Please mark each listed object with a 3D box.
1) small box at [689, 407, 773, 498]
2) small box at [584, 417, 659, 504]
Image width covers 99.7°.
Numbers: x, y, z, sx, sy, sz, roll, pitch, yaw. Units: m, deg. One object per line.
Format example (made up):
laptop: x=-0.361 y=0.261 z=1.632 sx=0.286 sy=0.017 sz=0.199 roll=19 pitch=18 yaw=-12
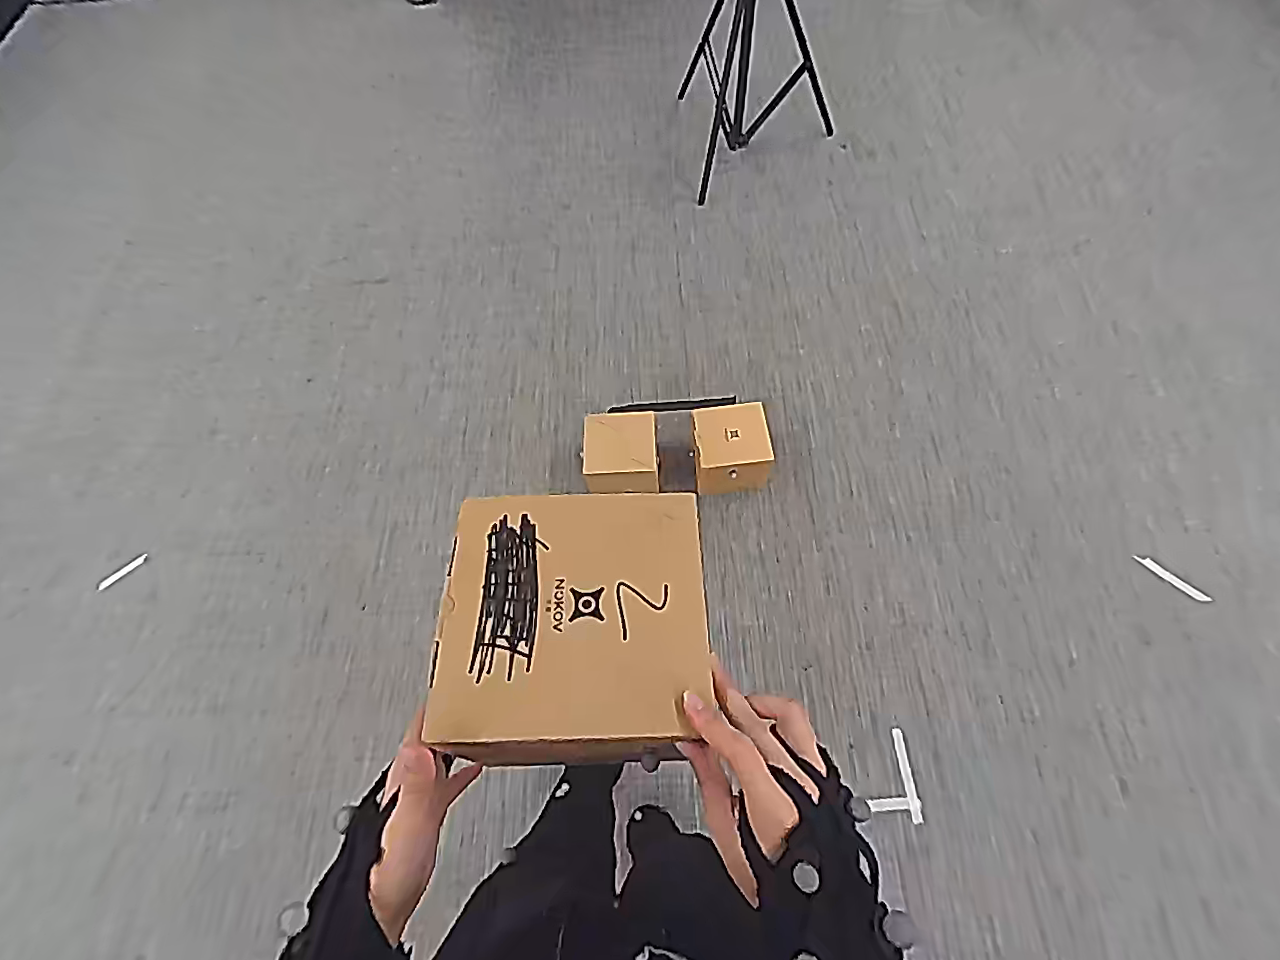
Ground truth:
small box: x=0.225 y=-0.066 z=1.378 sx=0.179 sy=0.176 sz=0.168 roll=-7 pitch=65 yaw=0
small box: x=-0.045 y=-0.049 z=1.384 sx=0.179 sy=0.176 sz=0.168 roll=-2 pitch=65 yaw=2
